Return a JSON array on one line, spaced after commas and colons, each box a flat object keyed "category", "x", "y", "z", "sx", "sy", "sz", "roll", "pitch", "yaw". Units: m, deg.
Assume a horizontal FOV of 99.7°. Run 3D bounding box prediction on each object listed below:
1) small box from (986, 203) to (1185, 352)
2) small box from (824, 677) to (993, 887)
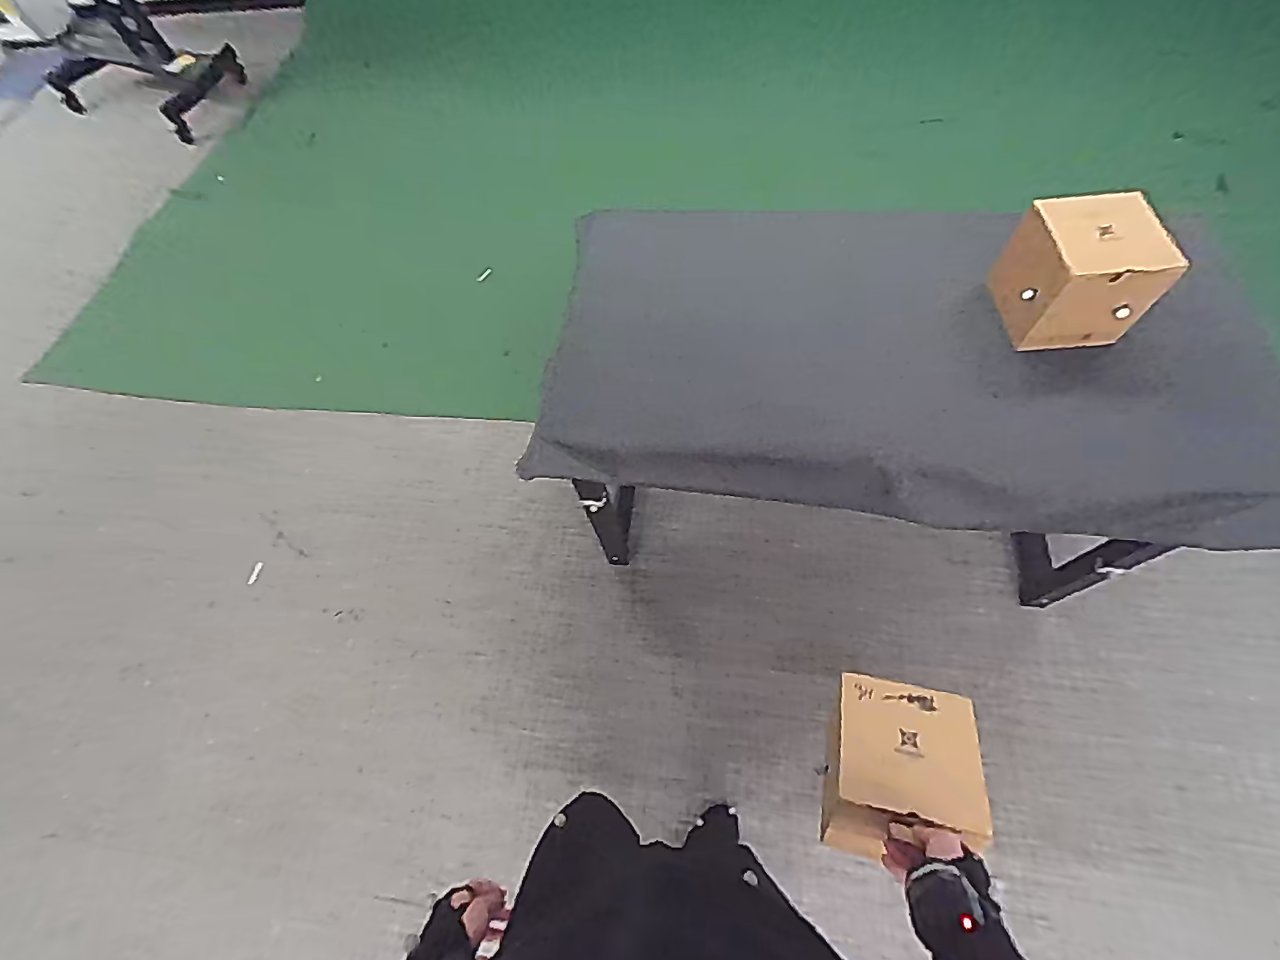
[{"category": "small box", "x": 0.727, "y": -0.330, "z": 0.909, "sx": 0.168, "sy": 0.176, "sz": 0.179, "roll": -2, "pitch": 61, "yaw": 3}, {"category": "small box", "x": 0.346, "y": 0.403, "z": 0.725, "sx": 0.168, "sy": 0.176, "sz": 0.179, "roll": 9, "pitch": 41, "yaw": 17}]
